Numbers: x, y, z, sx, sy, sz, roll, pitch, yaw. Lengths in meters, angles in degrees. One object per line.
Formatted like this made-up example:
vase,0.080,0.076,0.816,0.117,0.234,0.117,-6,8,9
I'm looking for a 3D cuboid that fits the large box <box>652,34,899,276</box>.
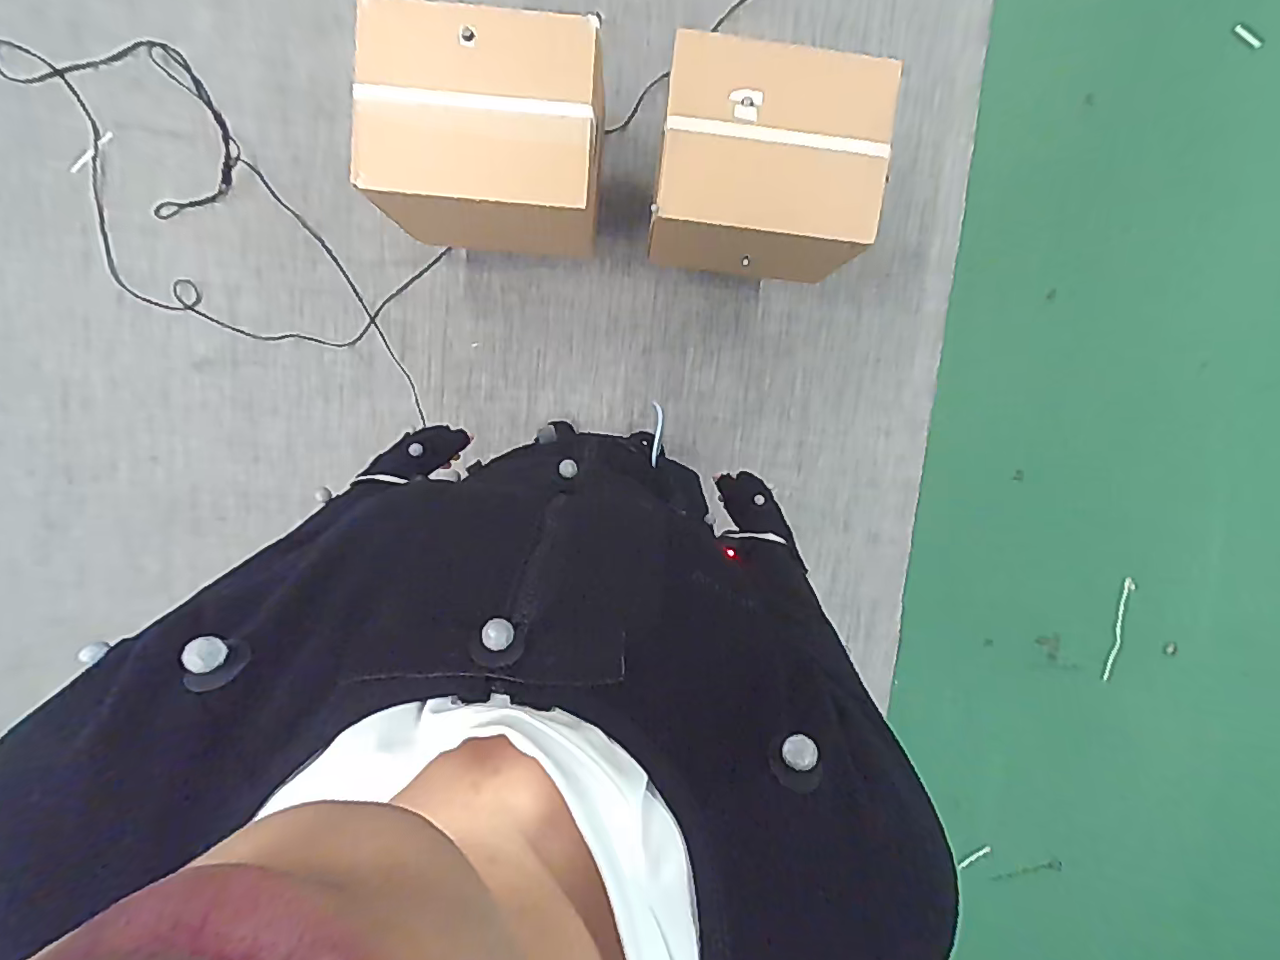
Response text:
large box,0.245,-0.629,1.114,0.408,0.320,0.320,7,97,-3
